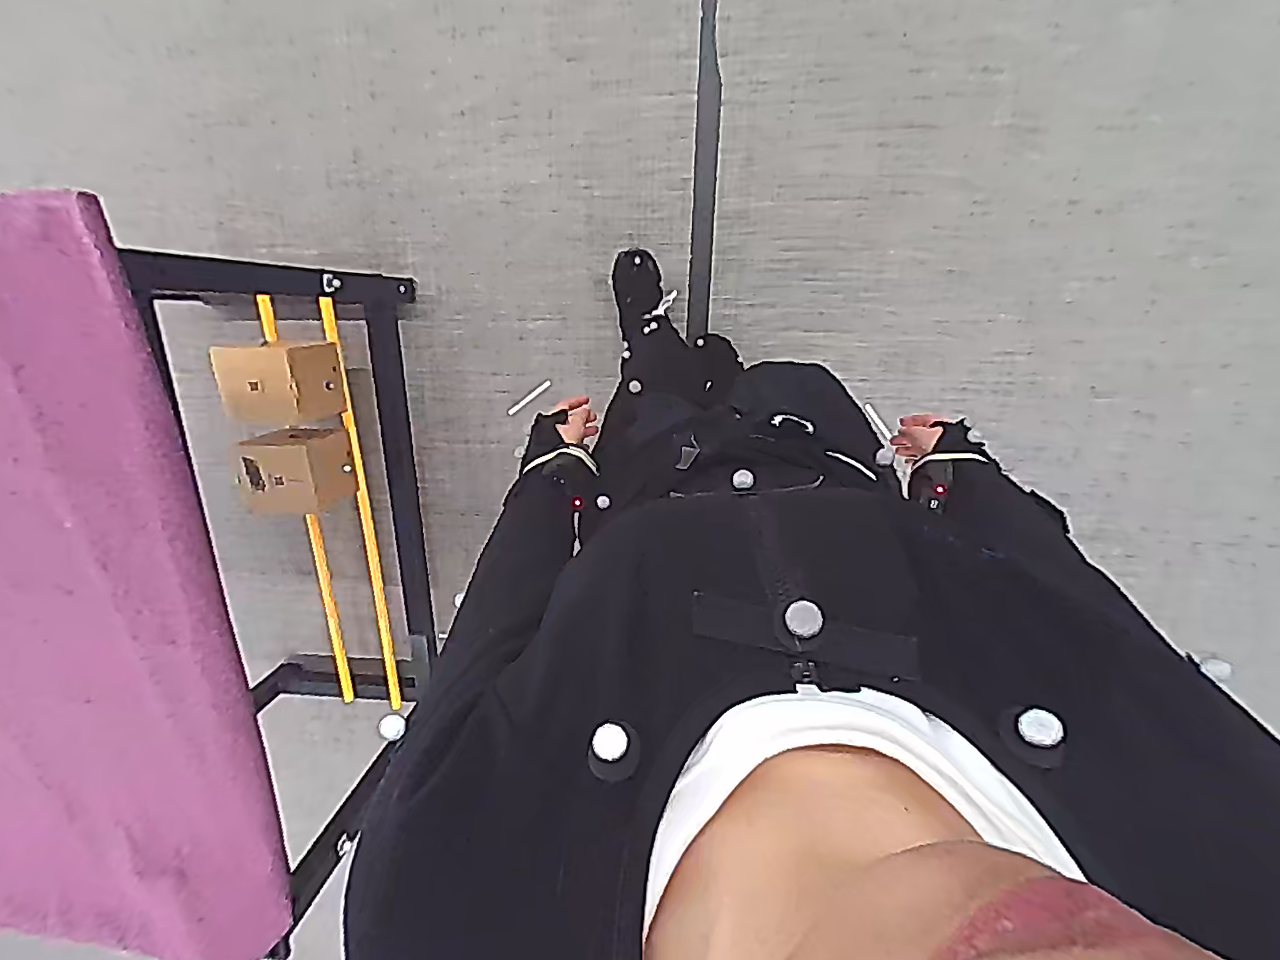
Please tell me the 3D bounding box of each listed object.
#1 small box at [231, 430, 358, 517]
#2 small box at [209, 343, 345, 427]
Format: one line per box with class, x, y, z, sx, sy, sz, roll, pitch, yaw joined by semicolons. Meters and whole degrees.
small box;-0.806;-0.021;1.279;0.179;0.176;0.168;1;108;4
small box;-0.804;-0.217;1.215;0.179;0.176;0.168;0;108;5
